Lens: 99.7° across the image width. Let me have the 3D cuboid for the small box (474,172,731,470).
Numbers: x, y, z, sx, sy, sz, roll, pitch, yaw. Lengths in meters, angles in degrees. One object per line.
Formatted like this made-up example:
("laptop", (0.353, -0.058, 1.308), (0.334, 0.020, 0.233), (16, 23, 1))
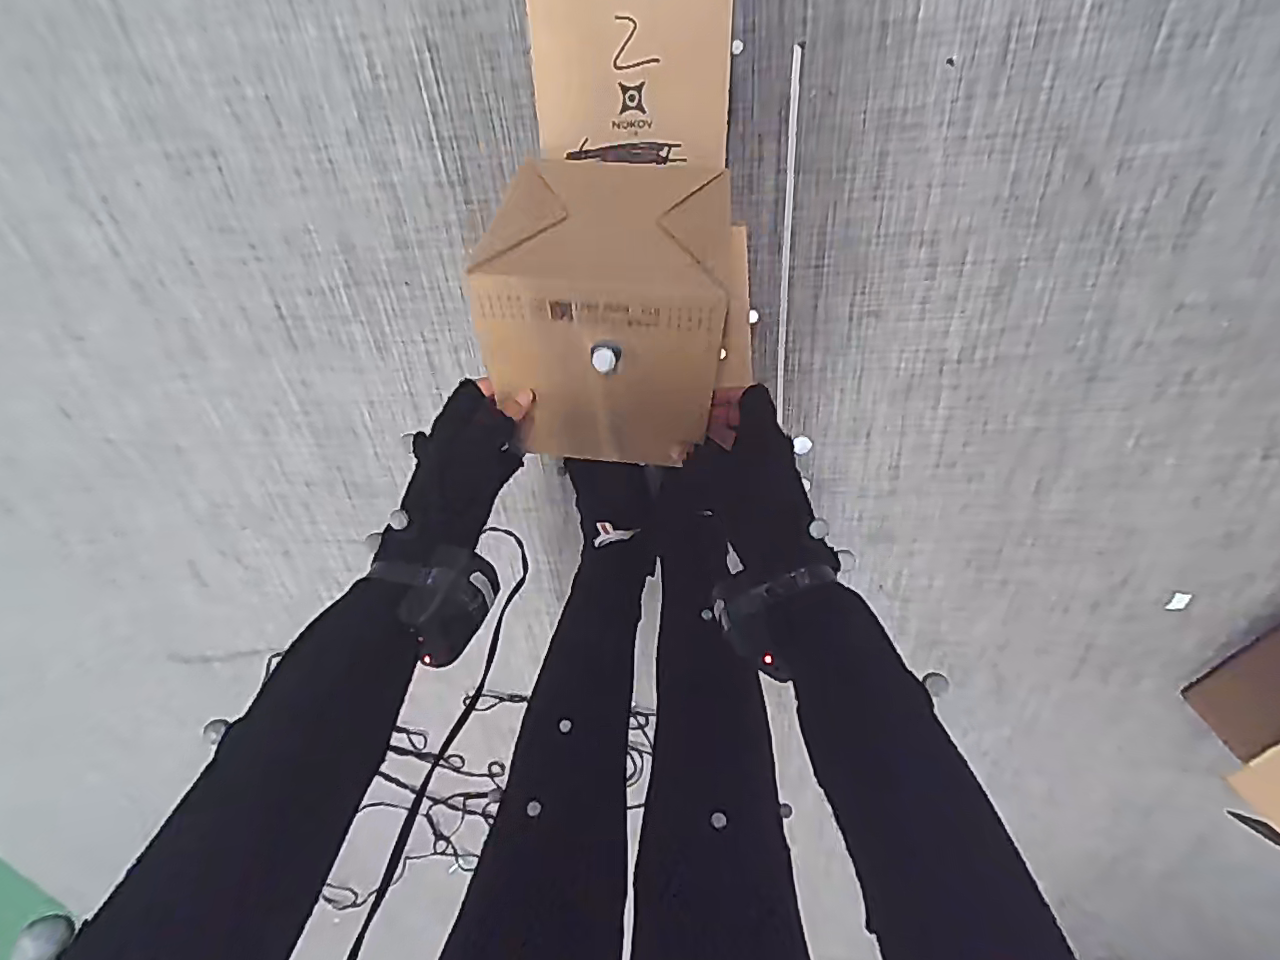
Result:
("small box", (-0.018, -0.132, 0.441), (0.168, 0.179, 0.176), (5, 143, 3))
